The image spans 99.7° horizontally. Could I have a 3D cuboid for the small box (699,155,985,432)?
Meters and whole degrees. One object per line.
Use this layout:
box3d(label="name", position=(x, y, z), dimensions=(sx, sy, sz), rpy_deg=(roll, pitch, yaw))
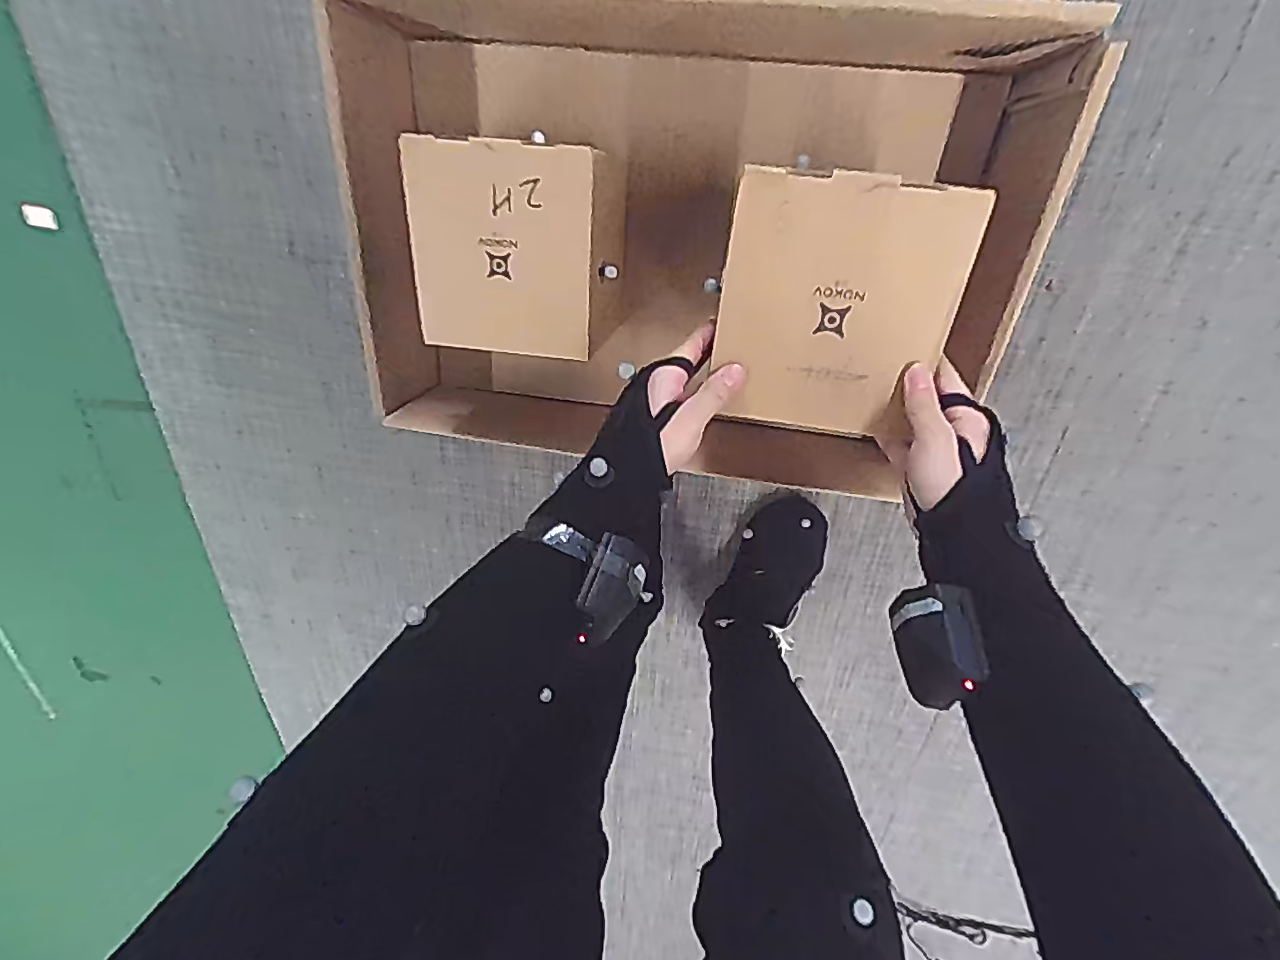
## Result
box3d(label="small box", position=(0.147, -0.161, 0.464), dimensions=(0.168, 0.176, 0.179), rpy_deg=(9, 117, 5))

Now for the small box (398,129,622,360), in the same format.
box3d(label="small box", position=(-0.115, -0.236, 0.547), dimensions=(0.168, 0.176, 0.179), rpy_deg=(8, 117, 5))
